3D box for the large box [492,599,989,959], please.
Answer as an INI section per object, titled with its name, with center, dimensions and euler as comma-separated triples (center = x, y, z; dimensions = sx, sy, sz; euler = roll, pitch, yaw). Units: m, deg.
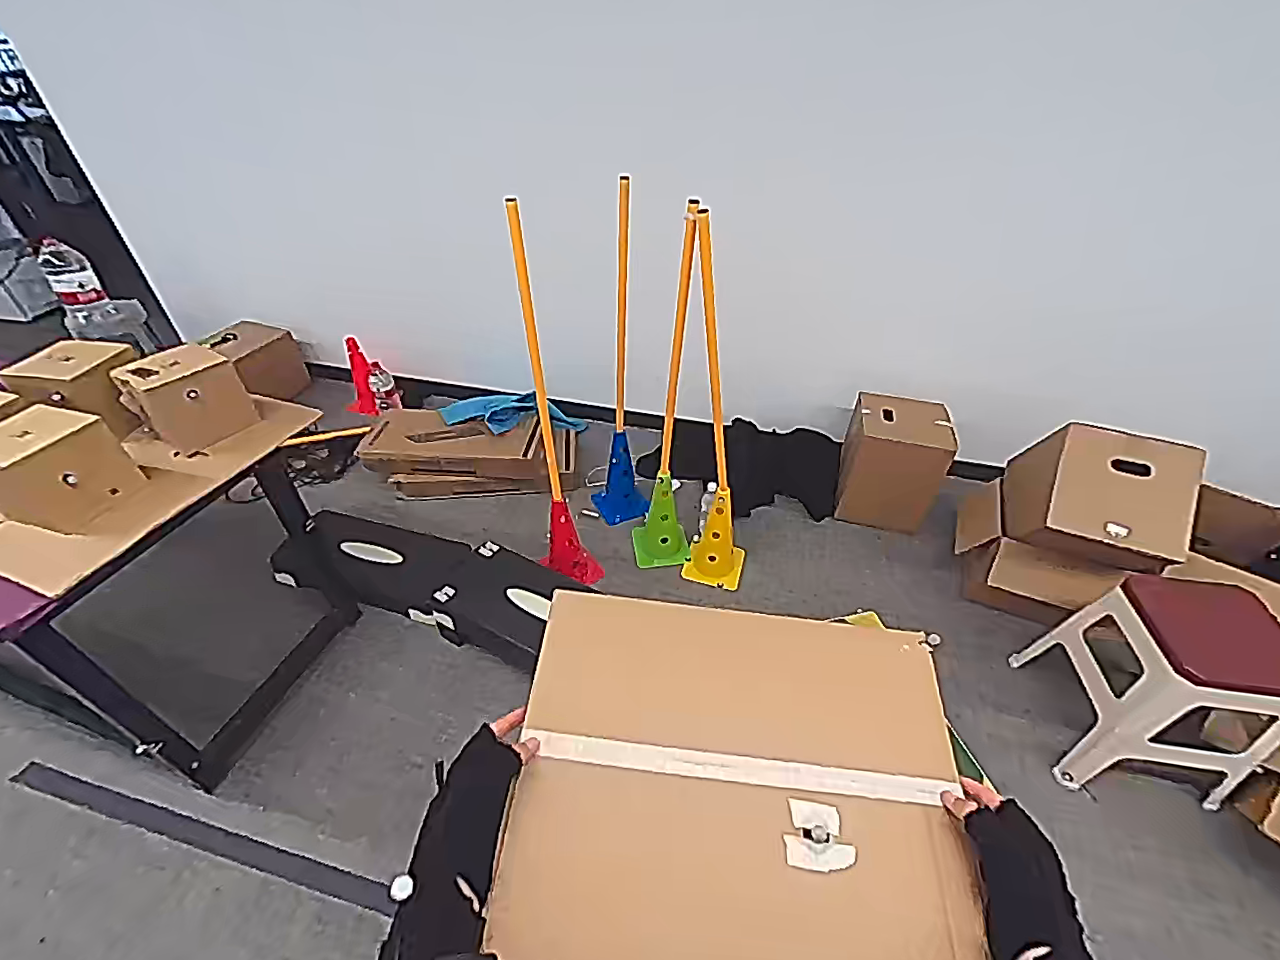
[large box]
center = 0.086, 0.365, 0.625
dimensions = 0.408, 0.320, 0.320
euler = 7, 52, 3
